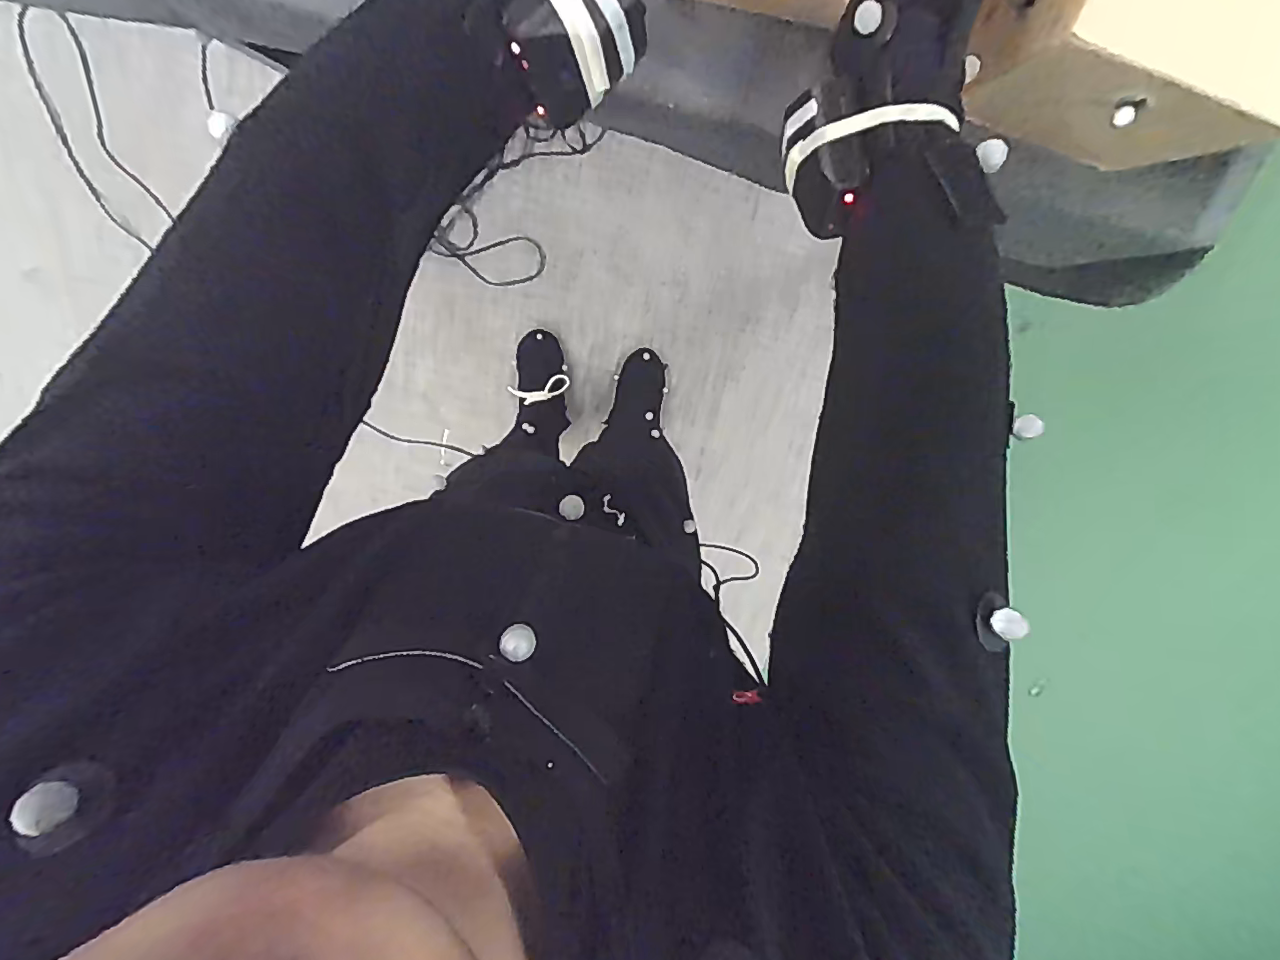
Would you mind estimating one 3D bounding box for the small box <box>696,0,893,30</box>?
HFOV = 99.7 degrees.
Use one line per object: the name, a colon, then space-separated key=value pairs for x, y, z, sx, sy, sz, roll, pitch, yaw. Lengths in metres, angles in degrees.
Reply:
small box: x=0.109 y=-0.416 z=0.337 sx=0.179 sy=0.176 sz=0.168 roll=12 pitch=117 yaw=-1
